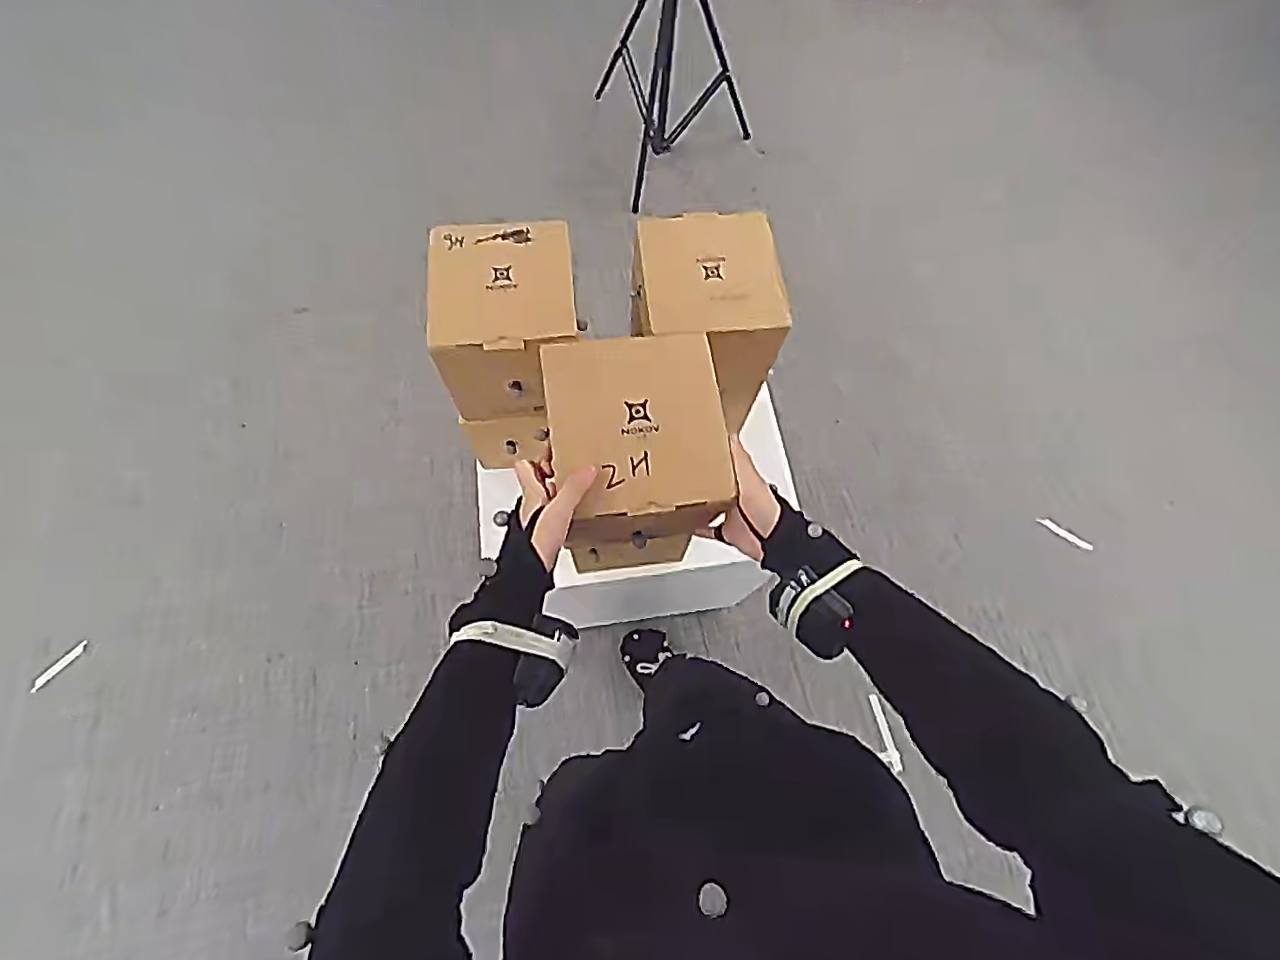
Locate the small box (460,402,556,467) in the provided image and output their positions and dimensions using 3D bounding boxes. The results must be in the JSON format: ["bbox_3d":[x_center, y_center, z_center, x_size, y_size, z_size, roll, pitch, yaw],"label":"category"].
[{"bbox_3d":[-0.175,-0.126,0.843,0.168,0.176,0.179,-4,69,-5],"label":"small box"}]

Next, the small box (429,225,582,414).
[{"bbox_3d":[-0.160,-0.194,0.695,0.168,0.176,0.179,-5,70,-6],"label":"small box"}]

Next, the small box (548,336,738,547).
[{"bbox_3d":[-0.009,-0.034,0.587,0.168,0.176,0.179,-6,75,-8],"label":"small box"}]

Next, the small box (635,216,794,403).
[{"bbox_3d":[0.084,-0.215,0.715,0.168,0.176,0.179,-6,71,-4],"label":"small box"}]
